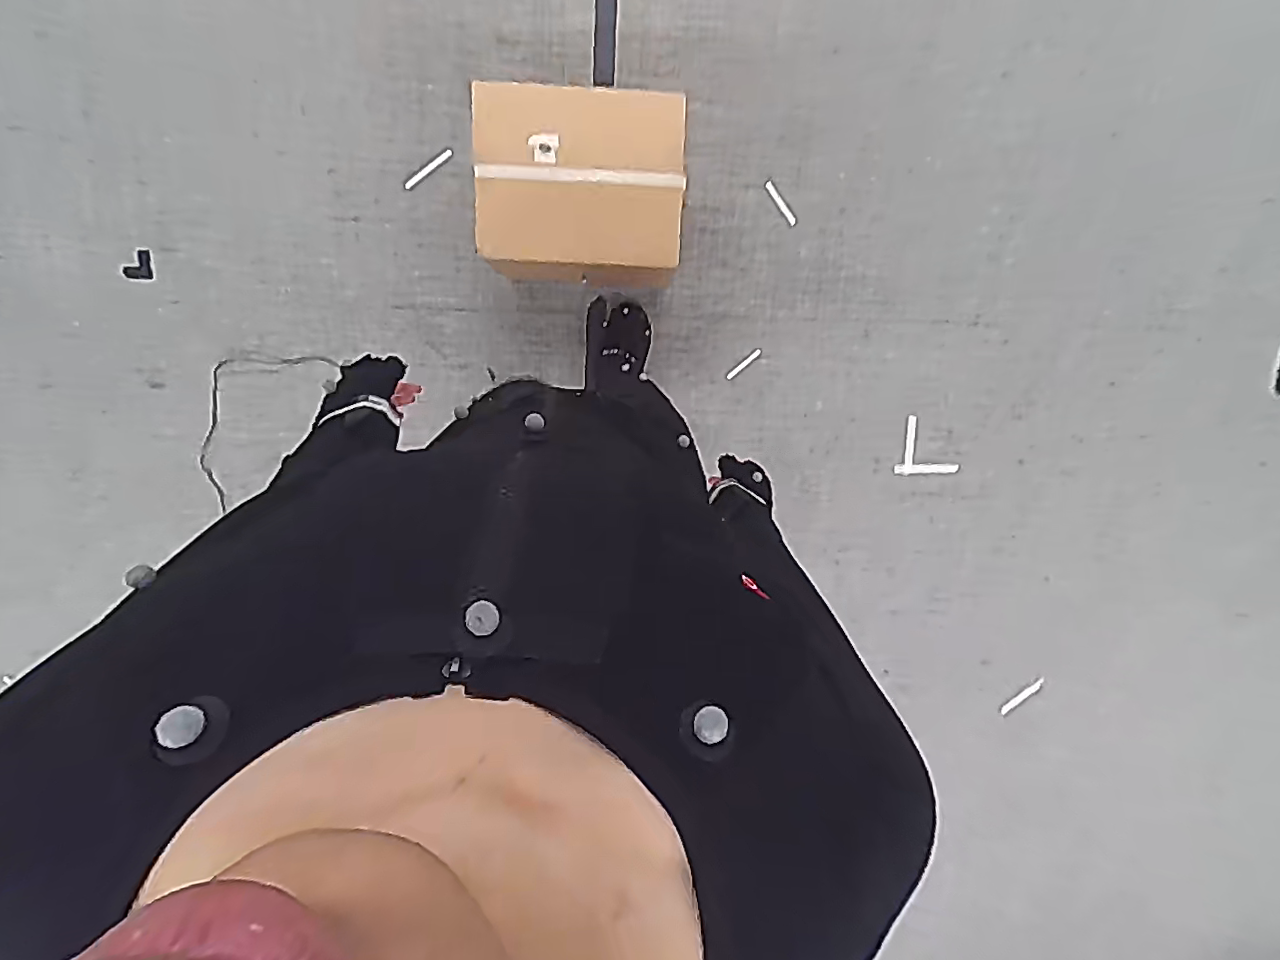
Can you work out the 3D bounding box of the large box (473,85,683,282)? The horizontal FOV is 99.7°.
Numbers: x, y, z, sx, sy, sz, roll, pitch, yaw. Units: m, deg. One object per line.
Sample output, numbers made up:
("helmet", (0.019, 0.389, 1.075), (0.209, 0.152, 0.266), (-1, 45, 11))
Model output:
("large box", (-0.120, -0.621, 1.193), (0.408, 0.320, 0.320), (2, 102, -1))
